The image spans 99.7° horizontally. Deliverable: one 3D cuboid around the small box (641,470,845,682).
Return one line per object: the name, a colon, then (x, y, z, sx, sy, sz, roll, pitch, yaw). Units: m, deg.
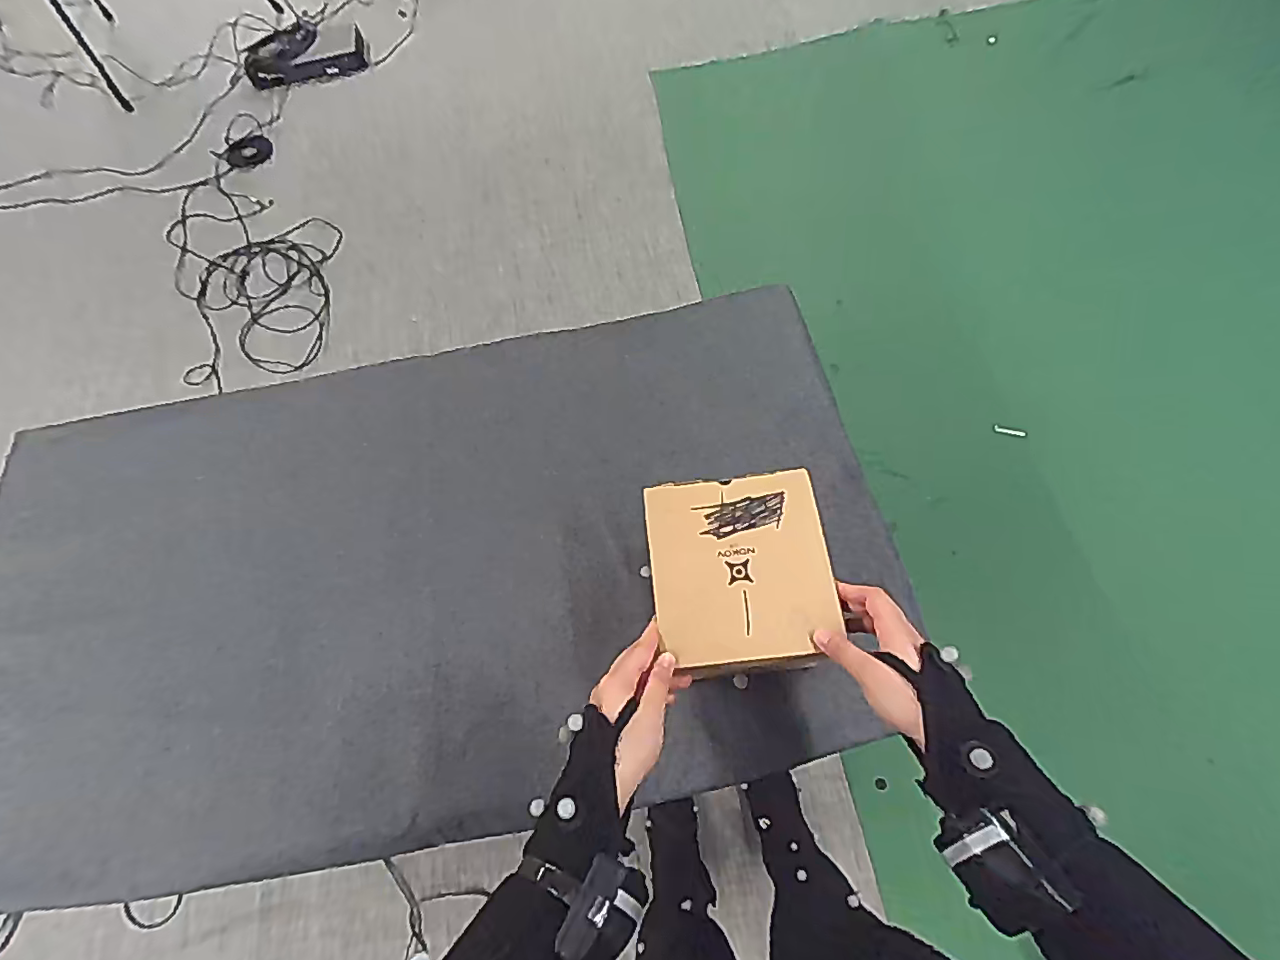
small box: (0.095, 0.109, 0.568, 0.168, 0.176, 0.179, -7, 66, 4)
